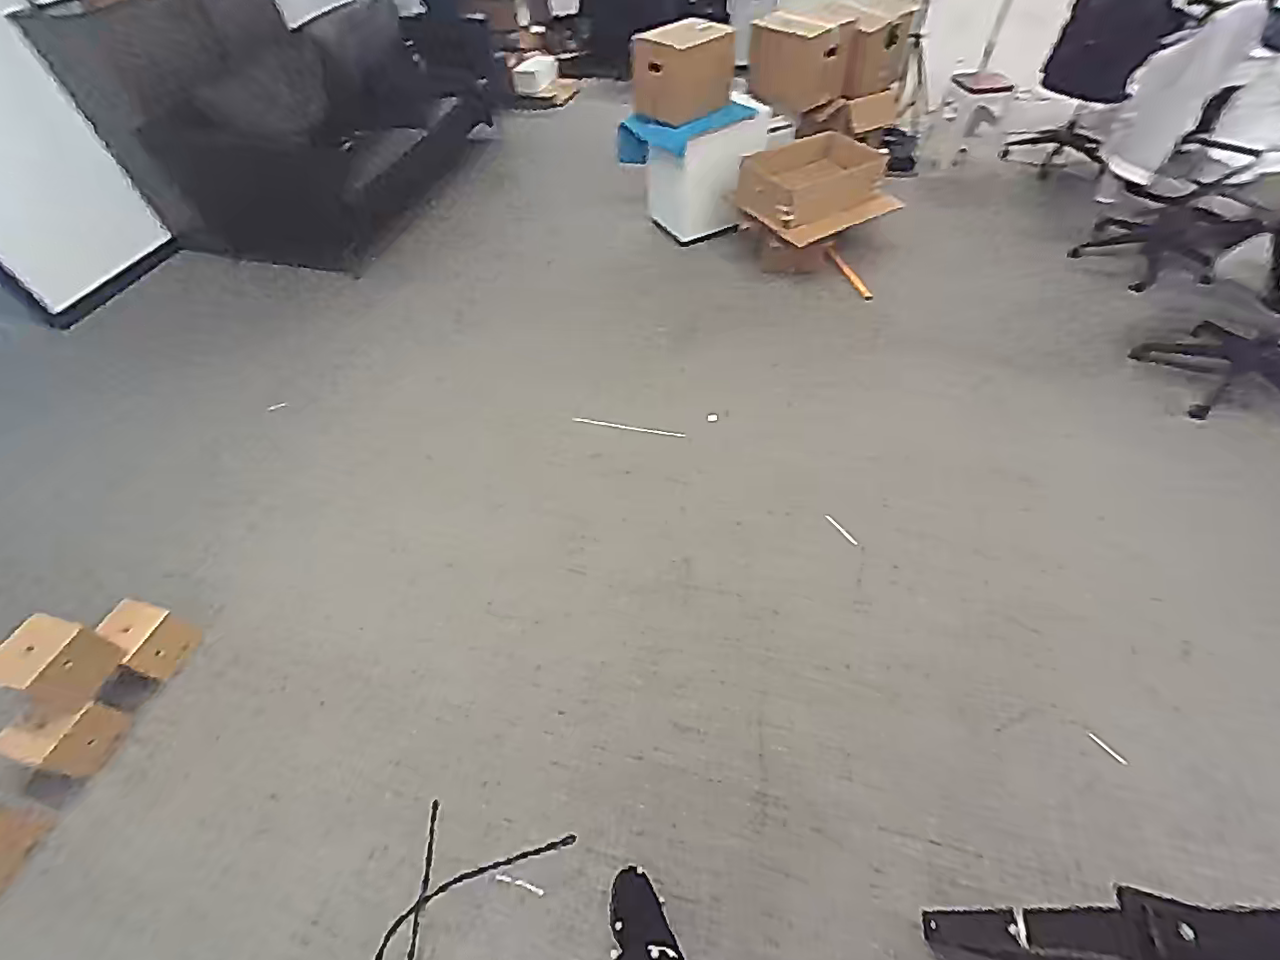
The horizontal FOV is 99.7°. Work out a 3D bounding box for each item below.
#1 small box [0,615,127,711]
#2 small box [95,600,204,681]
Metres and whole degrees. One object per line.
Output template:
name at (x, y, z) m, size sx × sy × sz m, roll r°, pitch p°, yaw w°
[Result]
small box at (-1.536, 0.486, 1.427) m, size 0.168 × 0.176 × 0.179 m, roll 9°, pitch 50°, yaw 9°
small box at (-1.489, 0.489, 1.634) m, size 0.179 × 0.176 × 0.168 m, roll 10°, pitch 53°, yaw 11°
